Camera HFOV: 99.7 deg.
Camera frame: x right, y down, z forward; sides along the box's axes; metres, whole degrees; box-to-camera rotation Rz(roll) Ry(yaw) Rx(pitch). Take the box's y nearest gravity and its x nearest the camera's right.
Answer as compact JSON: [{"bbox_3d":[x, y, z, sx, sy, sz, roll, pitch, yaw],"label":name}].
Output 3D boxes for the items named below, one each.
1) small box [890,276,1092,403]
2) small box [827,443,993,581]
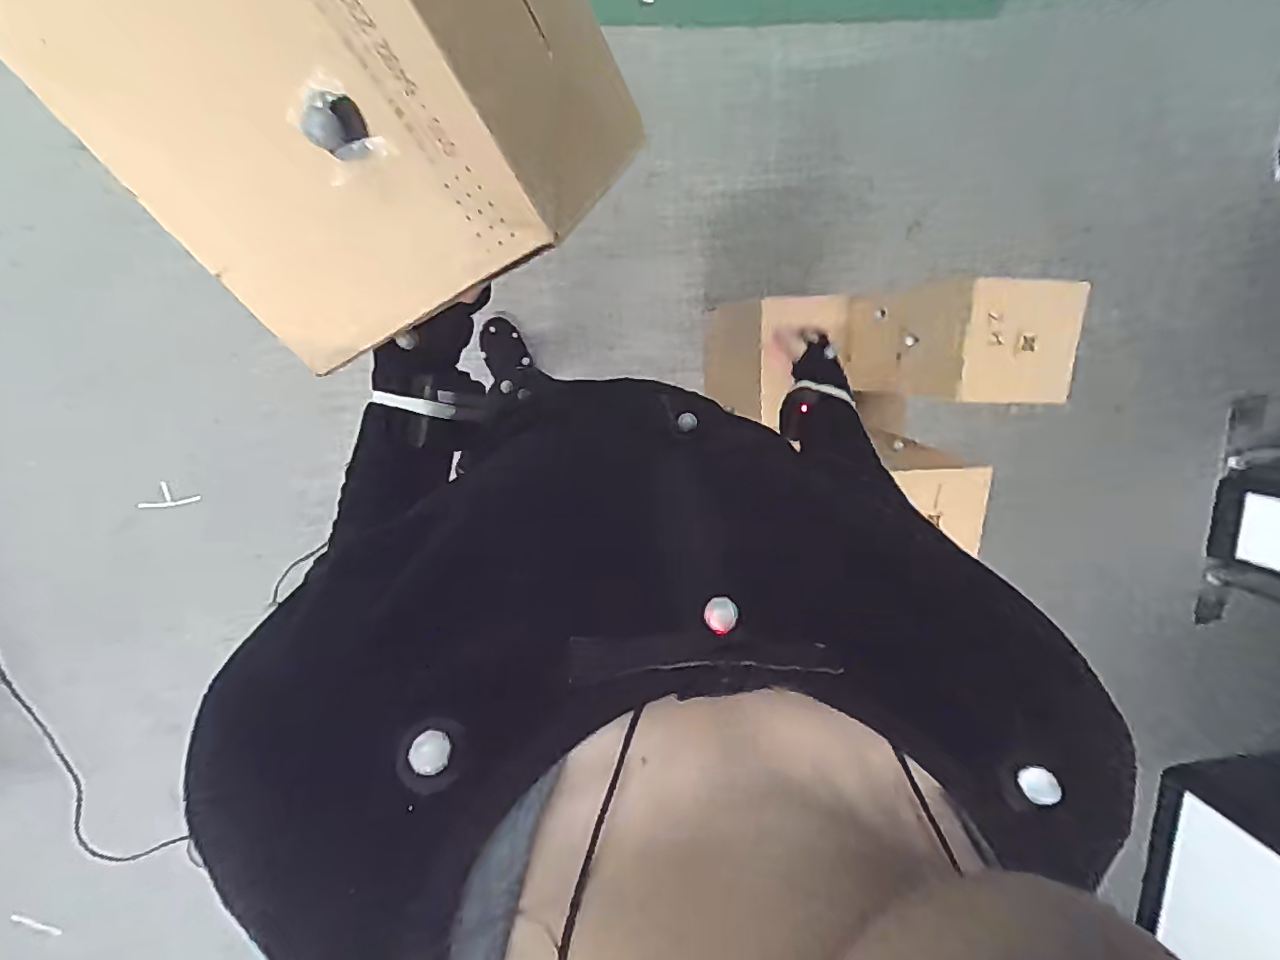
[{"bbox_3d":[0.514,-0.208,0.817,0.179,0.176,0.168,0,103,-7],"label":"small box"},{"bbox_3d":[0.416,0.044,0.864,0.168,0.176,0.179,-2,105,-7],"label":"small box"}]
